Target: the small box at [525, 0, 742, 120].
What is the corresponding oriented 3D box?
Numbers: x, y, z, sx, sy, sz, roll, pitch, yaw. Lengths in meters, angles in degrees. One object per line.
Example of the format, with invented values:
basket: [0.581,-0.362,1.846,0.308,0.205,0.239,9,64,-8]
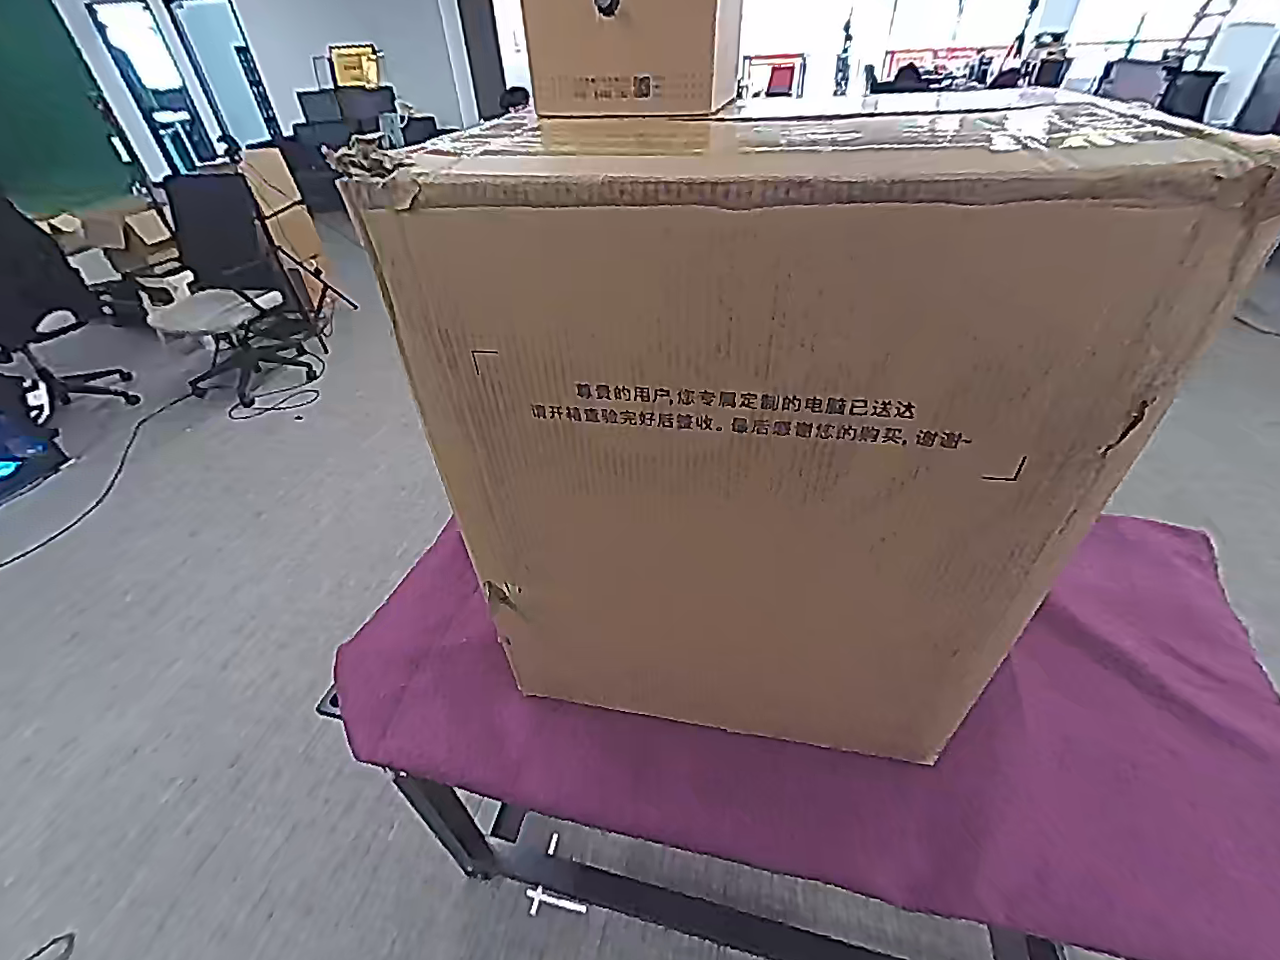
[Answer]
small box: [0.002,-0.437,0.495,0.168,0.176,0.179,9,40,12]
